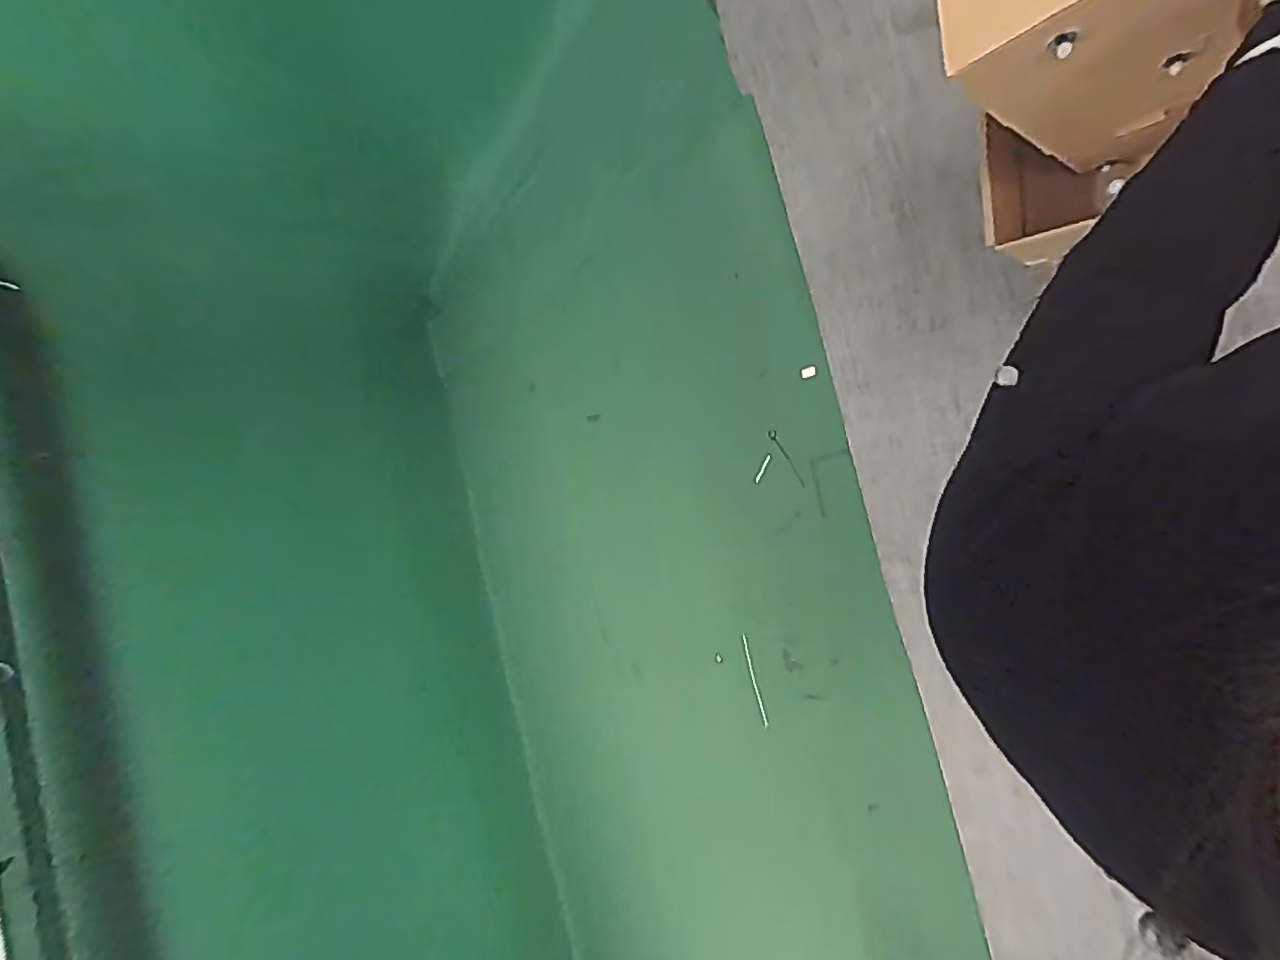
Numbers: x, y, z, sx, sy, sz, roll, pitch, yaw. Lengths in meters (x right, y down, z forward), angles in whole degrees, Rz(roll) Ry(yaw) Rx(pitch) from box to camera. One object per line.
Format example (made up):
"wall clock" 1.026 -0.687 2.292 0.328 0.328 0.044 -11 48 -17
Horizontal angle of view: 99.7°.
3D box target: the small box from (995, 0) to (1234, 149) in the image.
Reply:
"small box" 0.500 -0.489 0.578 0.179 0.176 0.168 -2 98 49

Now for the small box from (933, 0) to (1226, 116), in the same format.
"small box" 0.378 -0.459 0.471 0.179 0.176 0.168 -3 98 49
